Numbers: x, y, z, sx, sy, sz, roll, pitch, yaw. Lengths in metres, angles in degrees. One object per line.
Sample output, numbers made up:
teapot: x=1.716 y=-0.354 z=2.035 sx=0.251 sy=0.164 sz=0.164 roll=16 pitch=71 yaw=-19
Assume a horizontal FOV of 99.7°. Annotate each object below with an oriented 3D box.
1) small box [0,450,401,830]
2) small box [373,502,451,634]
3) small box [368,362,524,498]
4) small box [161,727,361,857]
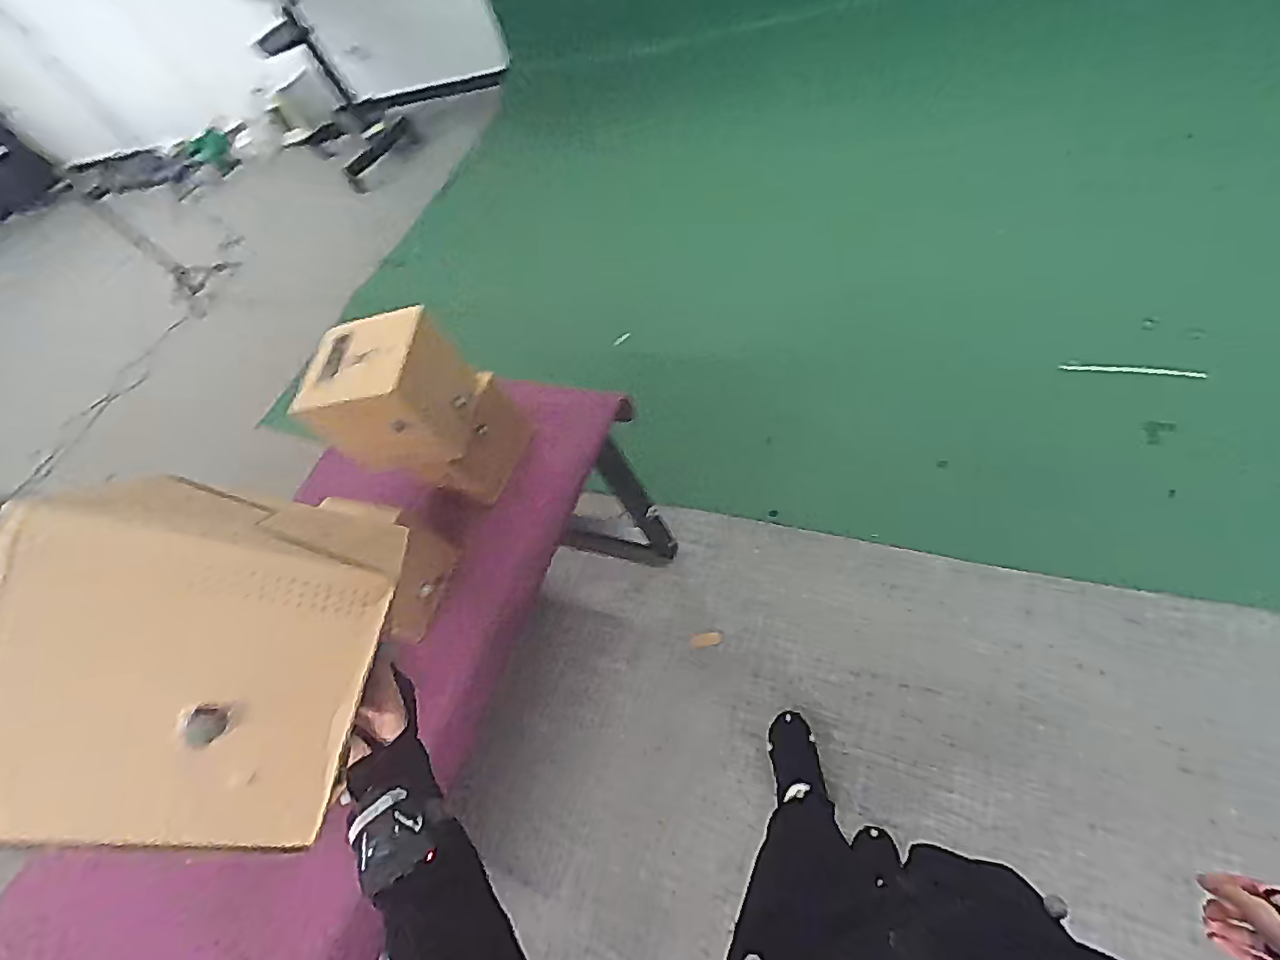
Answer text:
small box: x=-0.264 y=0.088 z=0.350 sx=0.168 sy=0.179 sz=0.176 roll=17 pitch=90 yaw=68
small box: x=-0.451 y=0.140 z=0.884 sx=0.179 sy=0.176 sz=0.168 roll=7 pitch=63 yaw=22
small box: x=-0.339 y=-0.087 z=0.983 sx=0.168 sy=0.176 sz=0.179 roll=12 pitch=65 yaw=26
small box: x=-0.543 y=0.390 z=0.767 sx=0.179 sy=0.176 sz=0.168 roll=24 pitch=70 yaw=30
